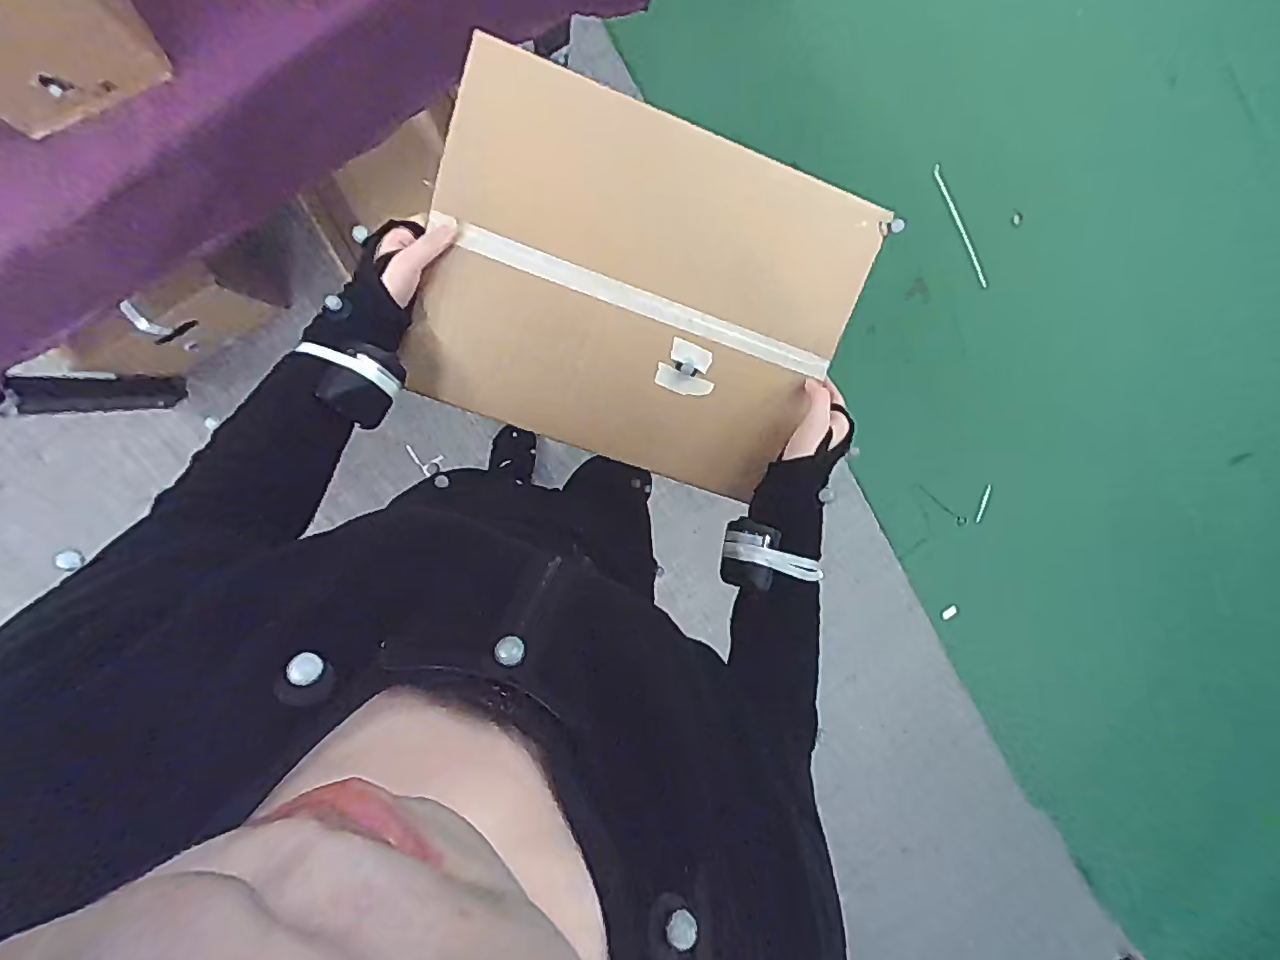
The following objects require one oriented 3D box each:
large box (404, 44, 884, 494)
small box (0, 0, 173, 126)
[{"bbox_3d":[-0.011,-0.217,0.665,0.408,0.320,0.320,18,104,-9],"label":"large box"},{"bbox_3d":[-0.605,-0.479,0.497,0.168,0.176,0.179,-29,104,-5],"label":"small box"}]
